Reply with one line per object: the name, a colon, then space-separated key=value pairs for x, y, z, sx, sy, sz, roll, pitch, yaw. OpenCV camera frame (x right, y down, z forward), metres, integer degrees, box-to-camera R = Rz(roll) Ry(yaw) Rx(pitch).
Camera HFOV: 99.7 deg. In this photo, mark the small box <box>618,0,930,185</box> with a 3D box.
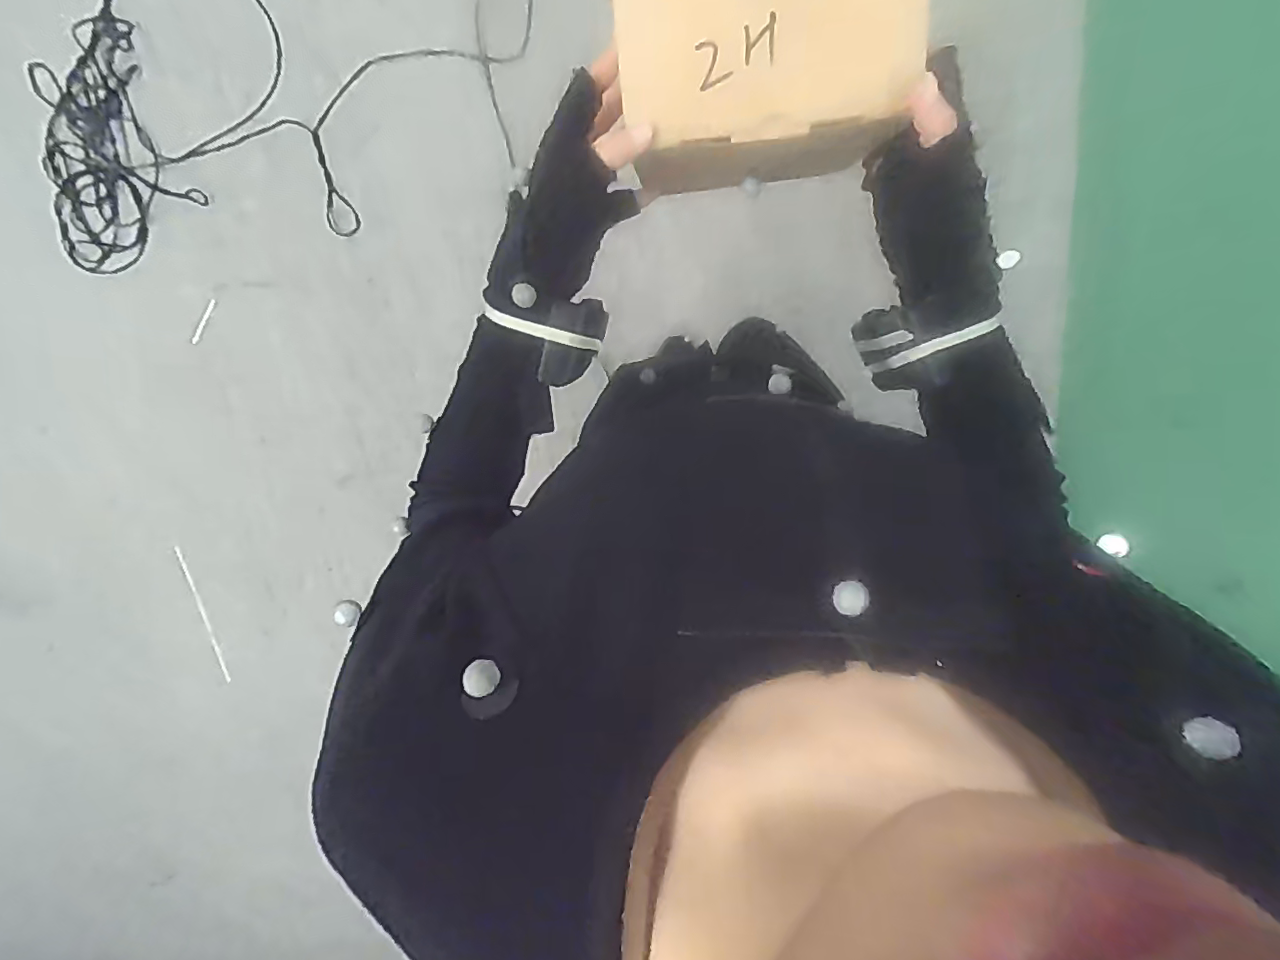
small box: x=0.073 y=-0.314 z=0.352 sx=0.168 sy=0.176 sz=0.179 roll=-4 pitch=108 yaw=7
